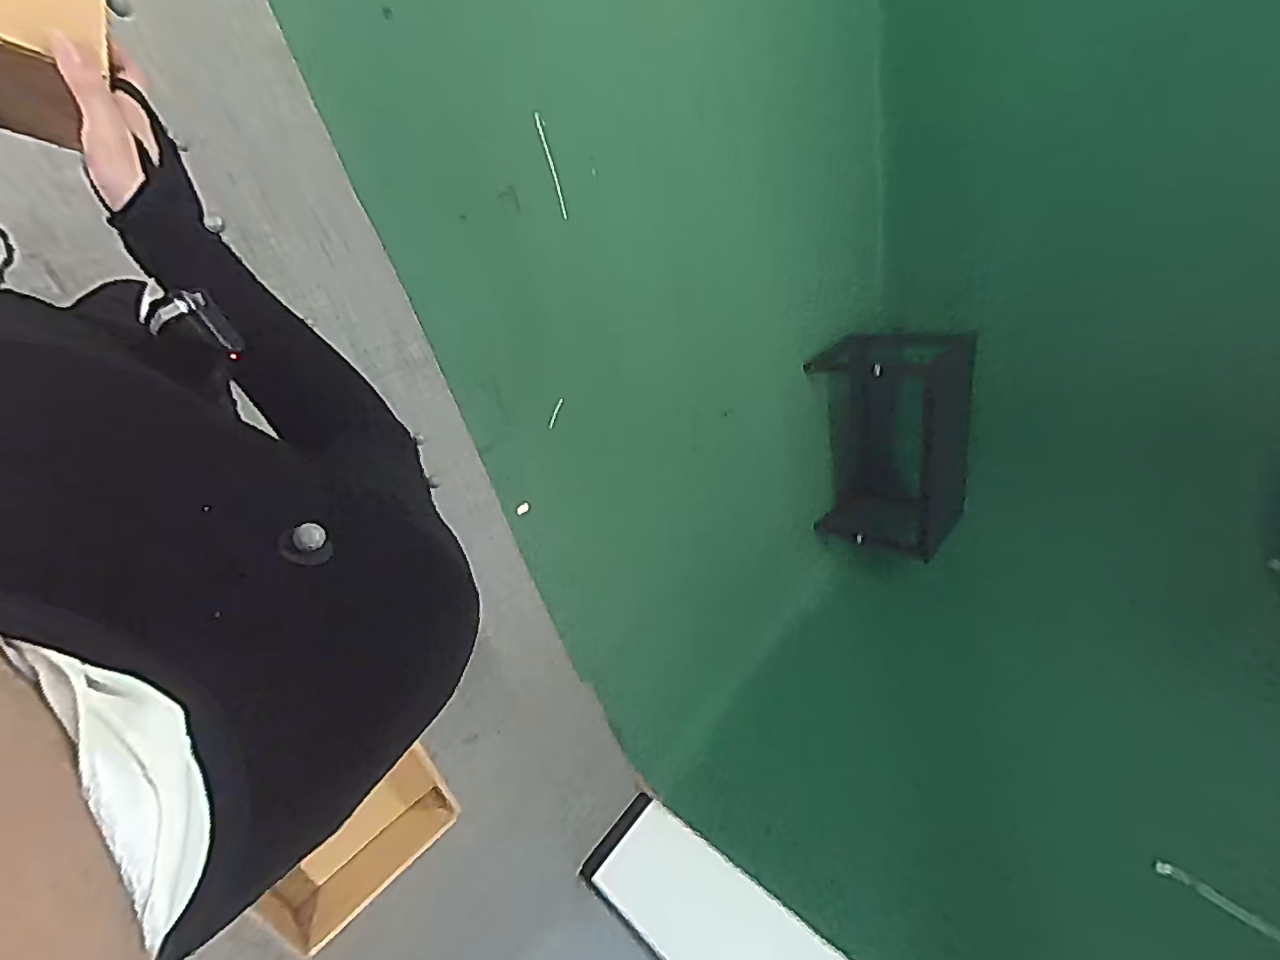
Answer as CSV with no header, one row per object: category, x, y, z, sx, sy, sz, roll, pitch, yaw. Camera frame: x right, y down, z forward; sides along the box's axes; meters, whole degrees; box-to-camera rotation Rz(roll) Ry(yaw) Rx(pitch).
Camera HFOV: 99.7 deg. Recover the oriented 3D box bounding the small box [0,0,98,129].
small box,-0.502,-0.390,0.374,0.168,0.176,0.179,-4,99,-48
